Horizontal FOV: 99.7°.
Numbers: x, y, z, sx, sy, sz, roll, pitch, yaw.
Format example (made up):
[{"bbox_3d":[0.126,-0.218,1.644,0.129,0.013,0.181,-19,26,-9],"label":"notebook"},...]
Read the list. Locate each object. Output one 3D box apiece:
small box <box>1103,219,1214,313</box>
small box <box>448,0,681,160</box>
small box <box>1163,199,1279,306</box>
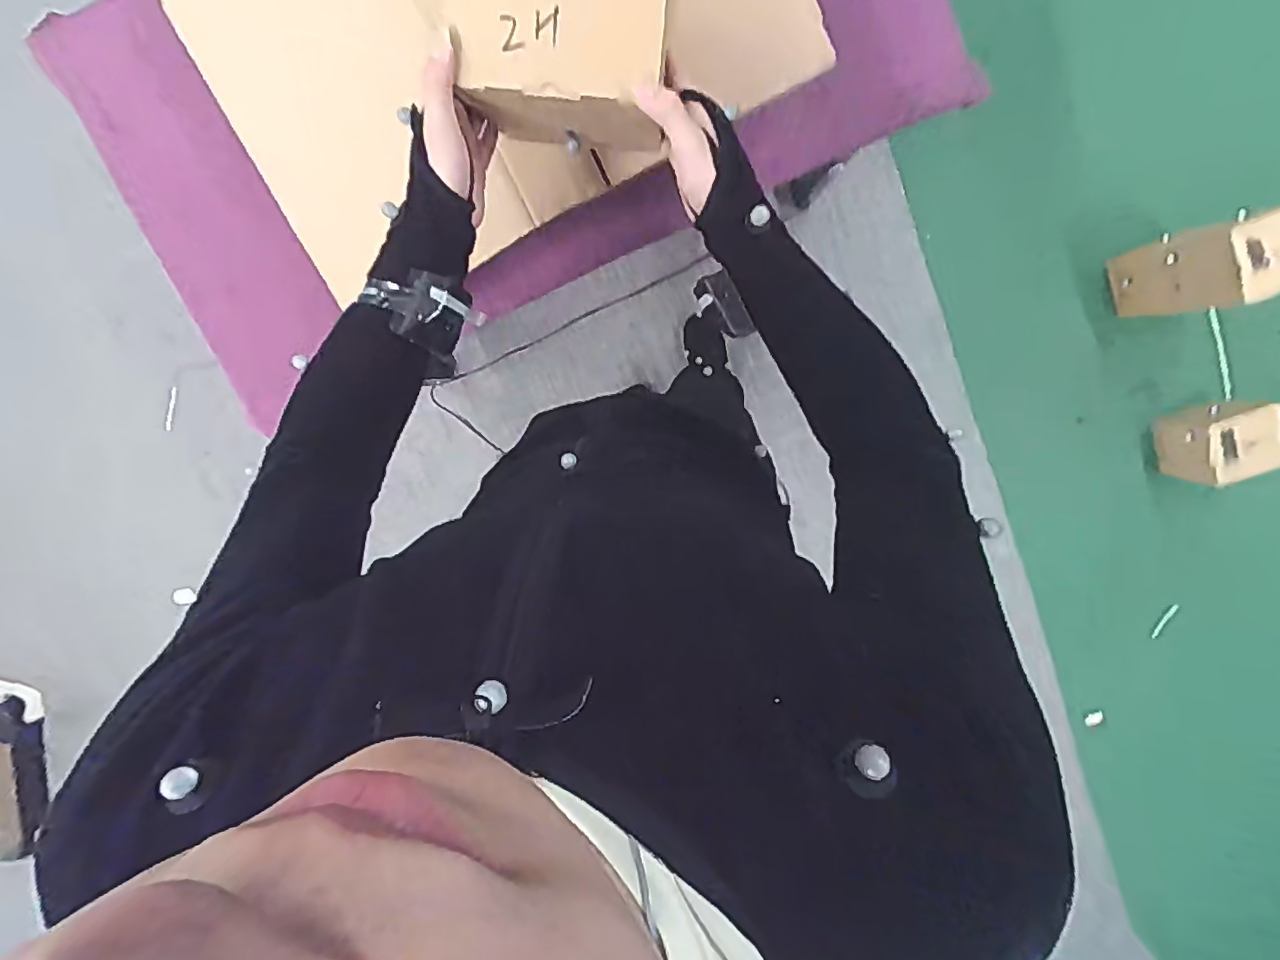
[{"bbox_3d":[1.347,-0.541,1.377,0.179,0.176,0.168,-22,100,7],"label":"small box"},{"bbox_3d":[-0.052,-0.395,0.458,0.168,0.176,0.179,6,110,1],"label":"small box"},{"bbox_3d":[1.339,-0.508,1.217,0.179,0.176,0.168,-22,100,6],"label":"small box"}]
